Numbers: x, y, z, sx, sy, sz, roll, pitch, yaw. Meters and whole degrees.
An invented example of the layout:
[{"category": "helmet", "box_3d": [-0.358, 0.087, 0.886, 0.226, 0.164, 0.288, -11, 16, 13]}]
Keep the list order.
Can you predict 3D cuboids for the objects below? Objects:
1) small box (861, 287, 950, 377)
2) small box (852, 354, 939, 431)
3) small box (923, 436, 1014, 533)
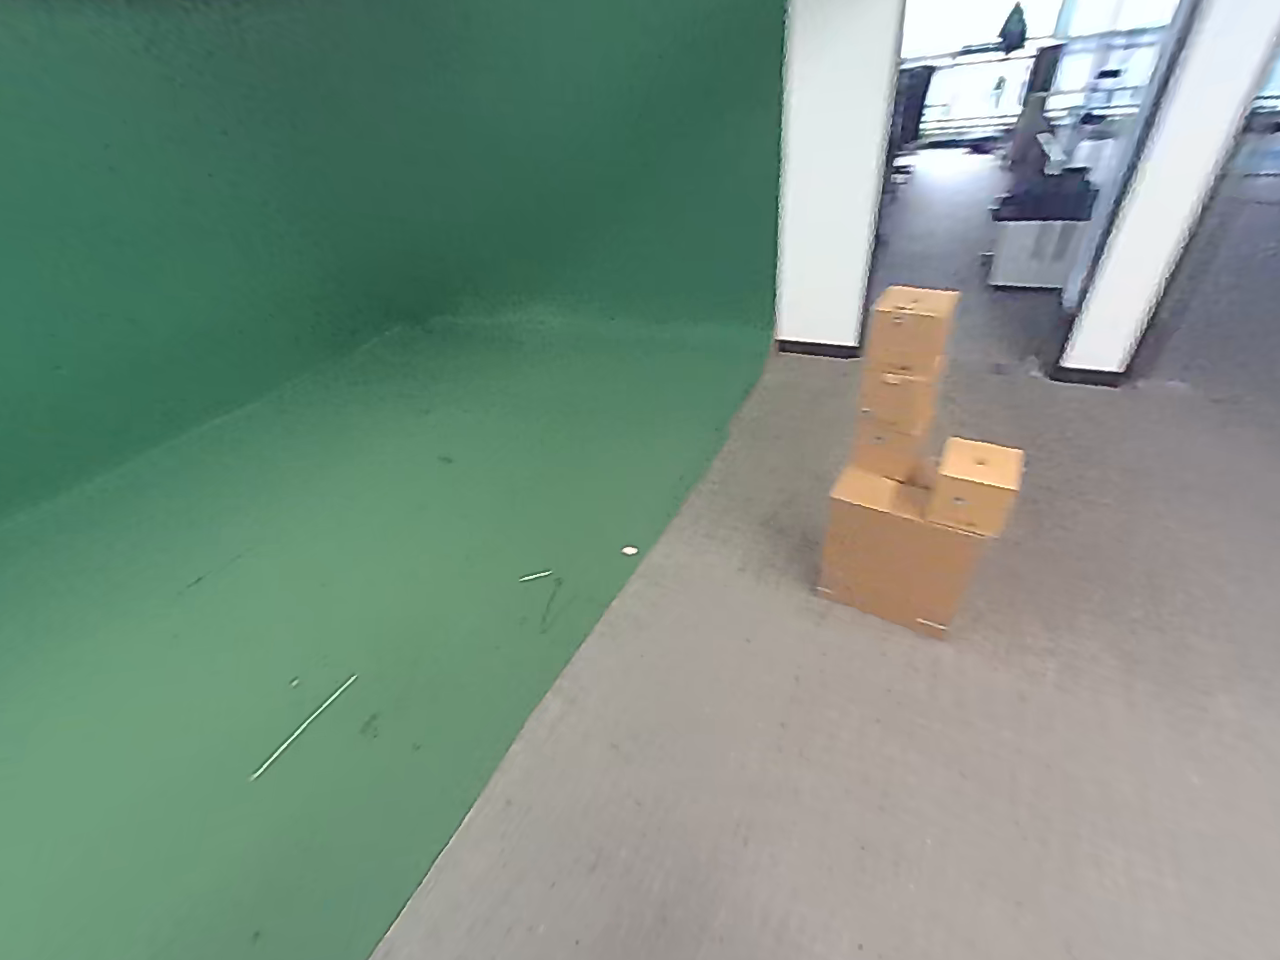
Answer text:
[{"category": "small box", "box_3d": [0.697, -0.393, 1.429, 0.168, 0.176, 0.179, 17, 43, 30]}, {"category": "small box", "box_3d": [0.714, -0.259, 1.522, 0.168, 0.176, 0.179, 24, 46, 34]}, {"category": "small box", "box_3d": [0.856, 0.013, 1.416, 0.168, 0.176, 0.179, 16, 44, 27]}]
